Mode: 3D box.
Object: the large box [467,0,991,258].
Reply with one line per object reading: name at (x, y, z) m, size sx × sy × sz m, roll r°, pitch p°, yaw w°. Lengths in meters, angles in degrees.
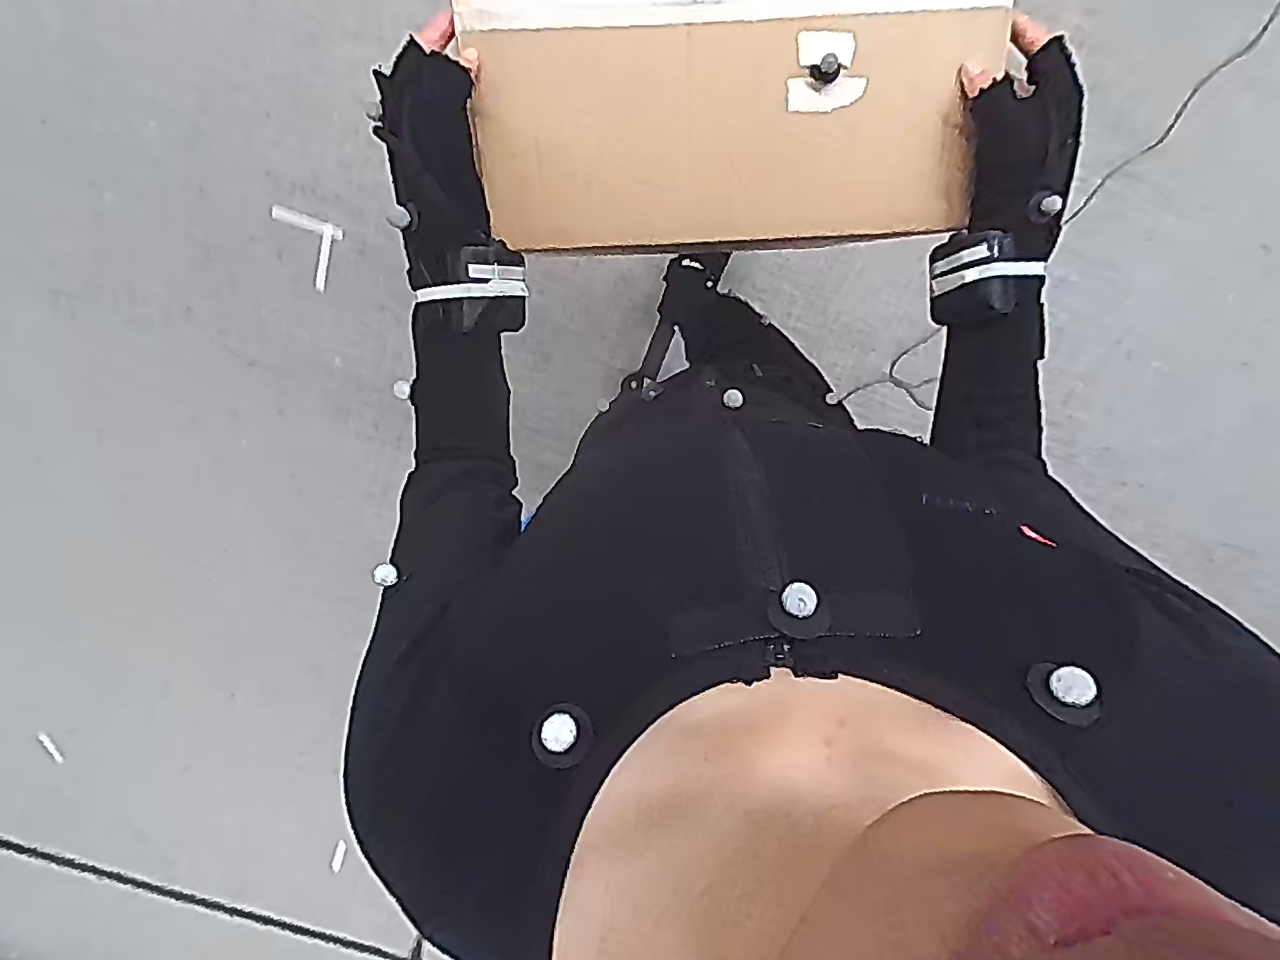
large box at (0.062, -0.406, 0.545) m, size 0.408 × 0.320 × 0.320 m, roll -2°, pitch 111°, yaw -1°
